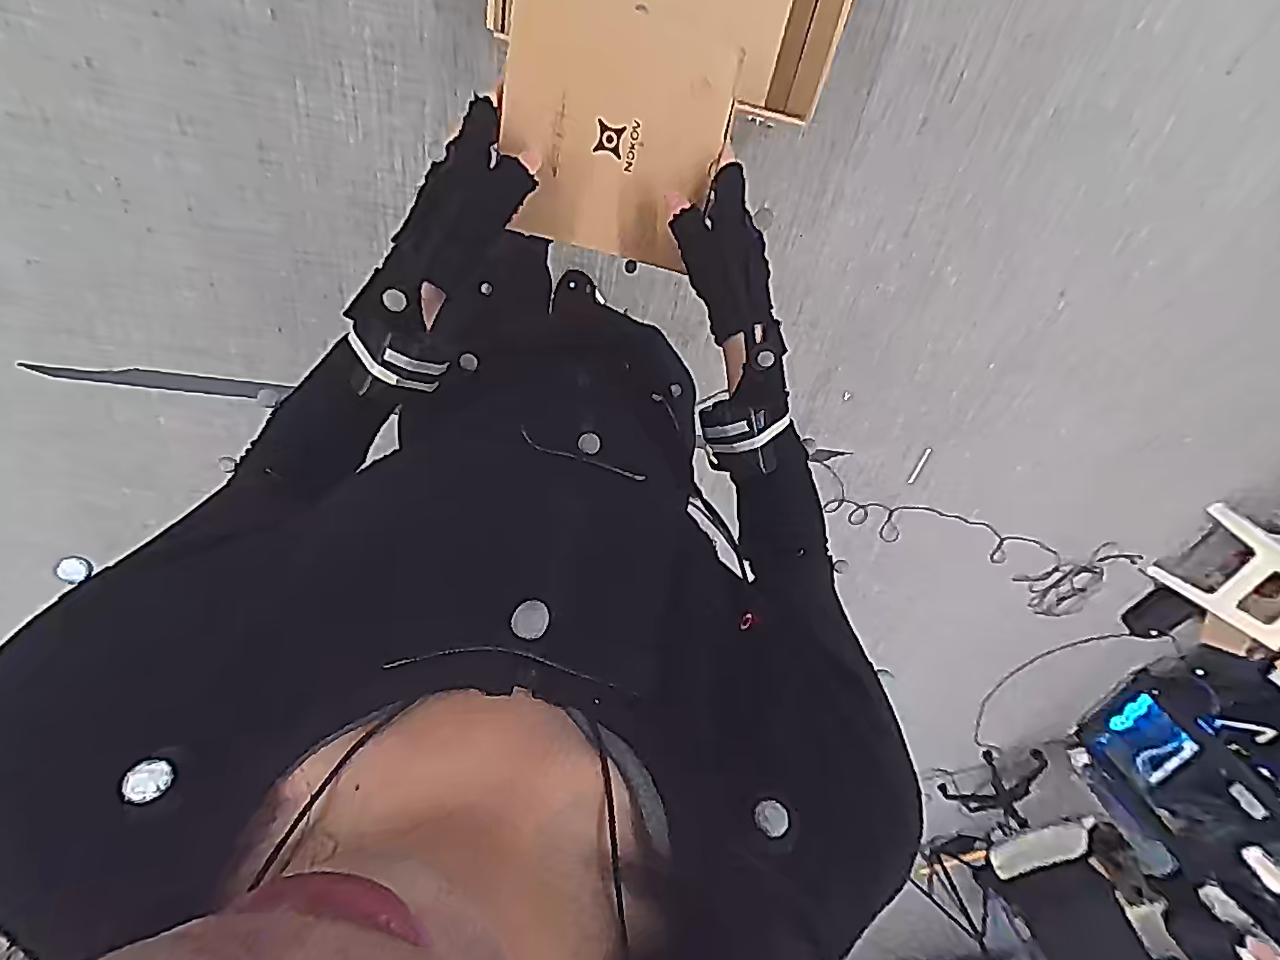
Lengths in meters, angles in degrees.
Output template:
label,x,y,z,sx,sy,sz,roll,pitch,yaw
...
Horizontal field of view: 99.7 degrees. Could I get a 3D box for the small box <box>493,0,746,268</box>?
label,x,y,z,sx,sy,sz,roll,pitch,yaw
small box,-0.029,-0.305,0.496,0.179,0.176,0.168,8,114,-11

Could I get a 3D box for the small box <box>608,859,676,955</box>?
label,x,y,z,sx,sy,sz,roll,pitch,yaw
small box,-0.001,1.227,1.558,0.168,0.176,0.179,1,123,-10
